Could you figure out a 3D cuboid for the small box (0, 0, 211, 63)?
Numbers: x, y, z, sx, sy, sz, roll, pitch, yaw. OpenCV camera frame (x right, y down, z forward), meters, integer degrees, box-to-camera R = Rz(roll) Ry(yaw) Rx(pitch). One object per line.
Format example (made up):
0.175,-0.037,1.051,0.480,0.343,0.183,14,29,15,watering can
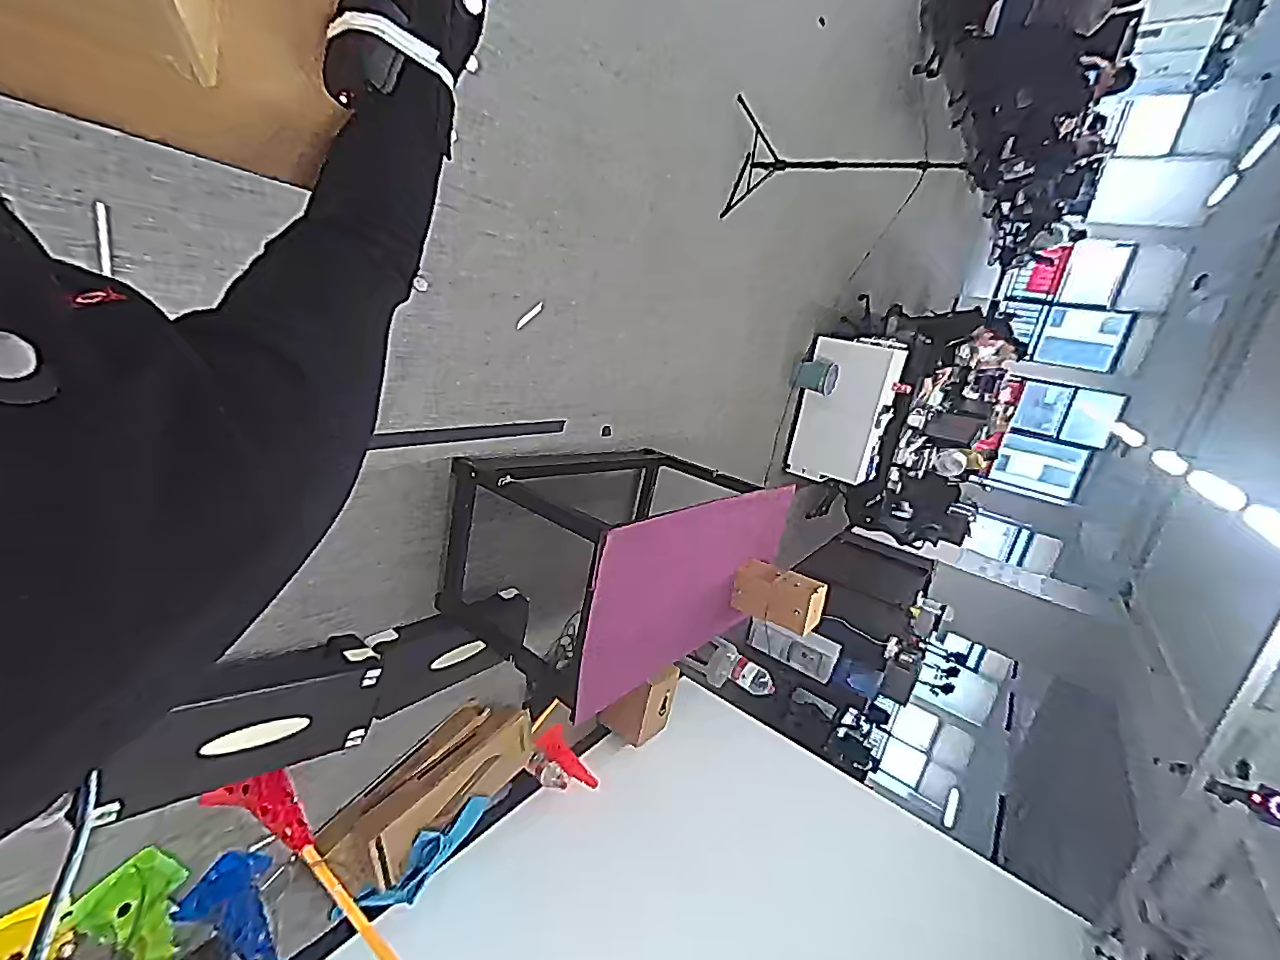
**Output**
-0.310,-0.333,0.245,0.179,0.176,0.168,5,105,-33,small box
